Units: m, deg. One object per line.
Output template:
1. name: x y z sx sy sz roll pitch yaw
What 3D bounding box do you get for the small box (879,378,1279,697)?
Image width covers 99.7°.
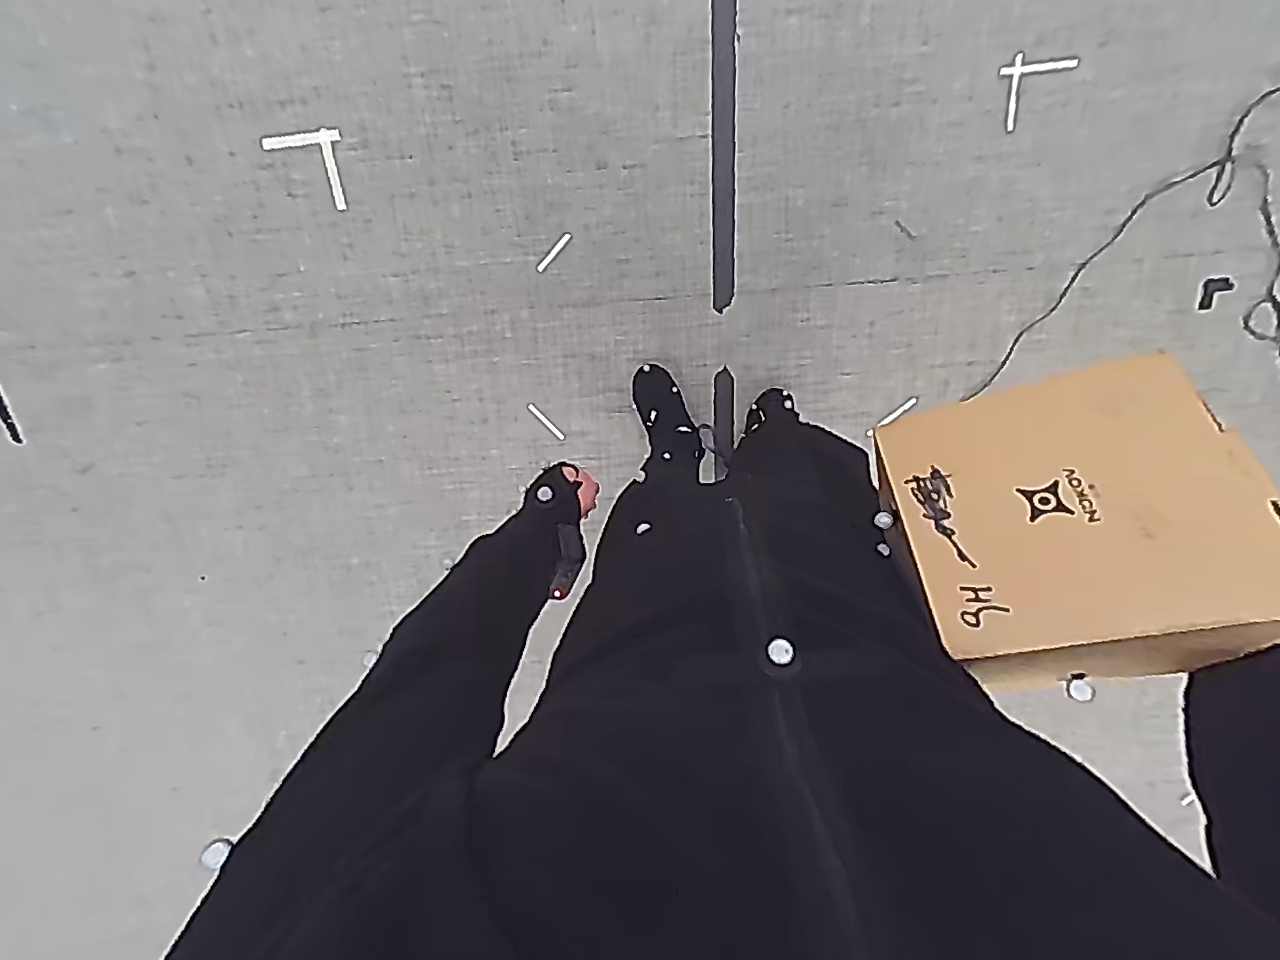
1. small box: 0.288 0.058 0.399 0.179 0.168 0.176 -14 148 19
